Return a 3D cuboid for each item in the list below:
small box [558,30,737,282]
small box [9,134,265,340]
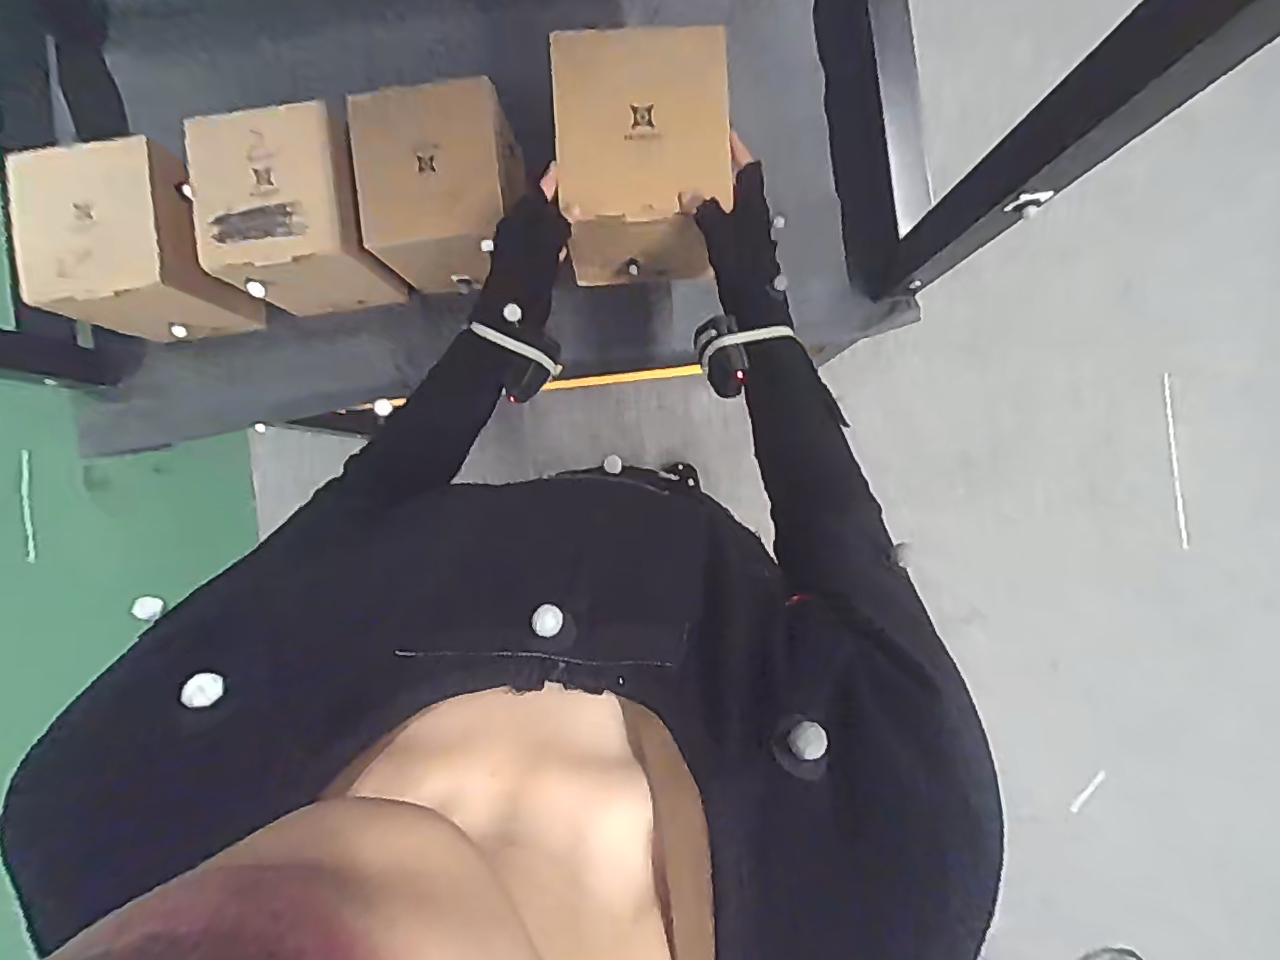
[{"bbox_3d":[0.003,-0.334,0.585,0.168,0.176,0.179,-3,91,-2],"label":"small box"},{"bbox_3d":[-0.621,-0.295,0.690,0.168,0.176,0.179,-8,90,1],"label":"small box"}]
